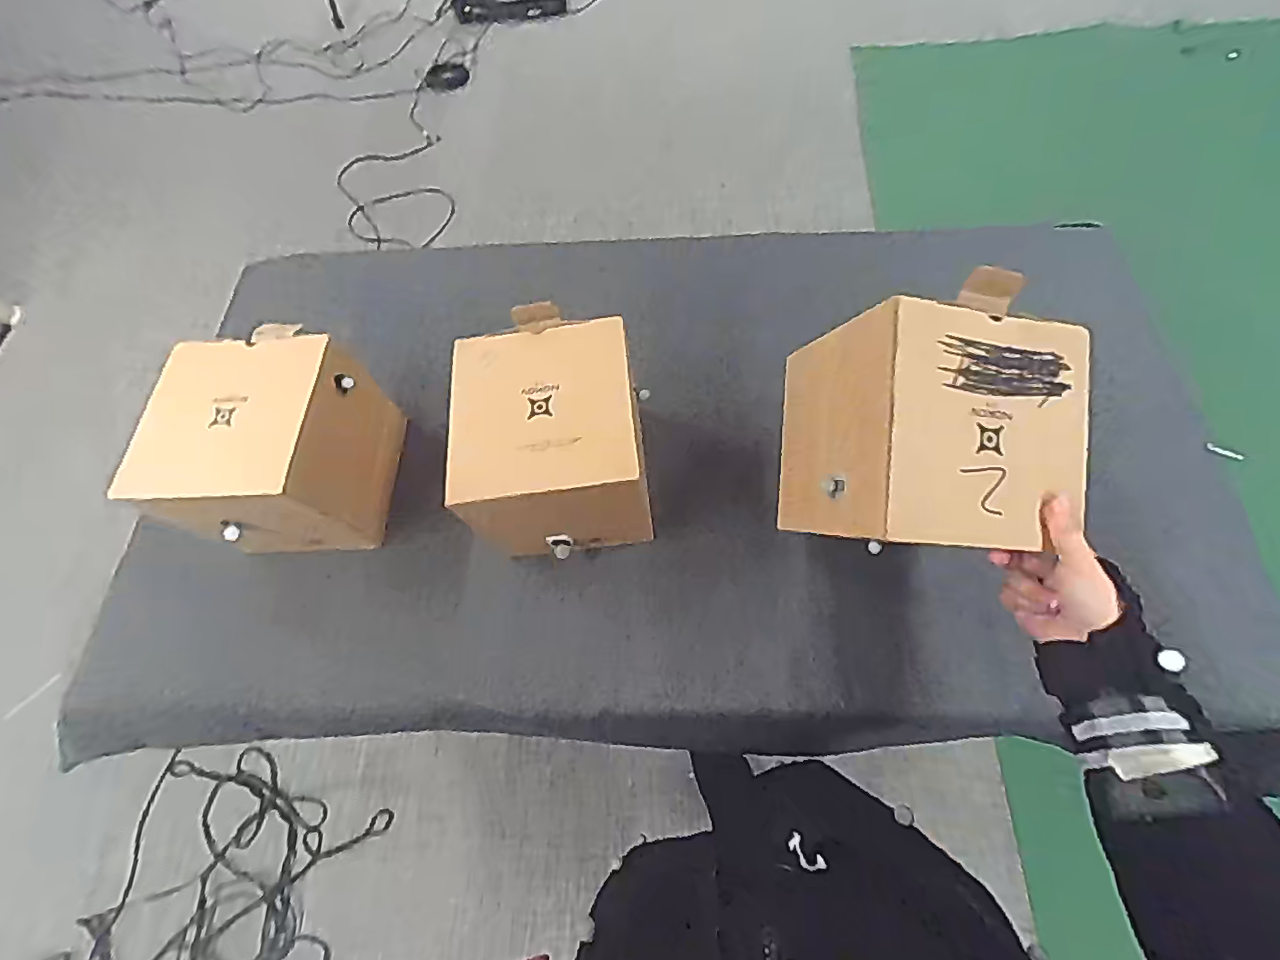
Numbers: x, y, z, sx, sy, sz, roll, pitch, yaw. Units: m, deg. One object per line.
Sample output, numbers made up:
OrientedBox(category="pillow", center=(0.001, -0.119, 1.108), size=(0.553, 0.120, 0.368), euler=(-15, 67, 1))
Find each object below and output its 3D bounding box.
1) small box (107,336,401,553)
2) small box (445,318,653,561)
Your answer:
OrientedBox(category="small box", center=(-0.380, -0.026, 0.574), size=(0.168, 0.176, 0.179), euler=(-2, 64, 4))
OrientedBox(category="small box", center=(-0.081, -0.033, 0.550), size=(0.168, 0.176, 0.179), euler=(-9, 65, 3))
